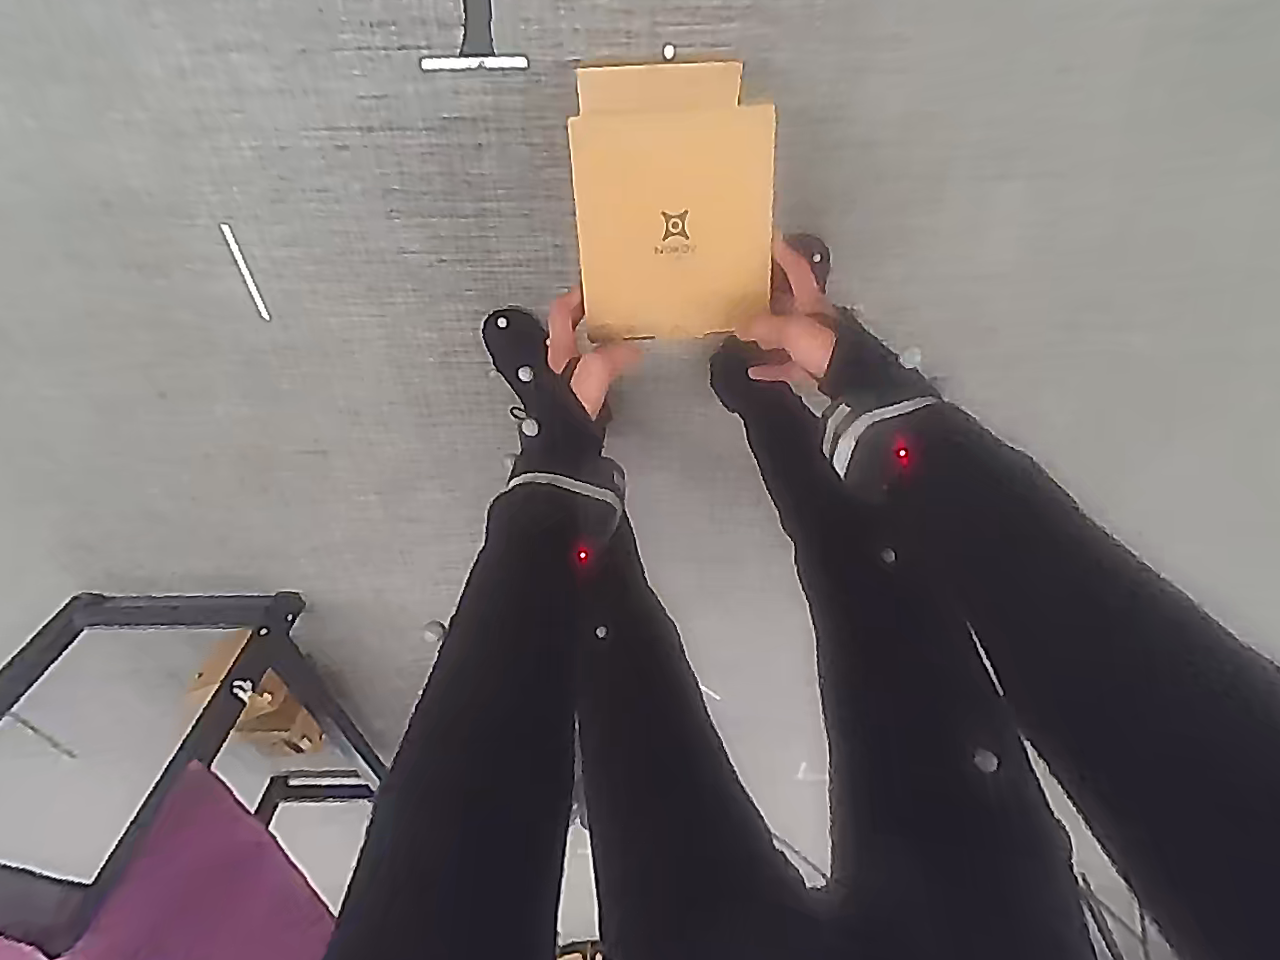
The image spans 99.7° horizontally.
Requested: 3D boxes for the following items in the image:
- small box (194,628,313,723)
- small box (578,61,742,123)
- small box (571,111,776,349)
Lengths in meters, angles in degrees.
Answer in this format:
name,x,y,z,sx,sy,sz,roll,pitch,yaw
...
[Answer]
name,x,y,z,sx,sy,sz,roll,pitch,yaw
small box,-1.046,0.535,1.482,0.179,0.176,0.168,-23,127,19
small box,0.023,-0.413,0.676,0.179,0.176,0.168,-2,130,2
small box,0.029,-0.233,0.527,0.168,0.176,0.179,-4,113,1
